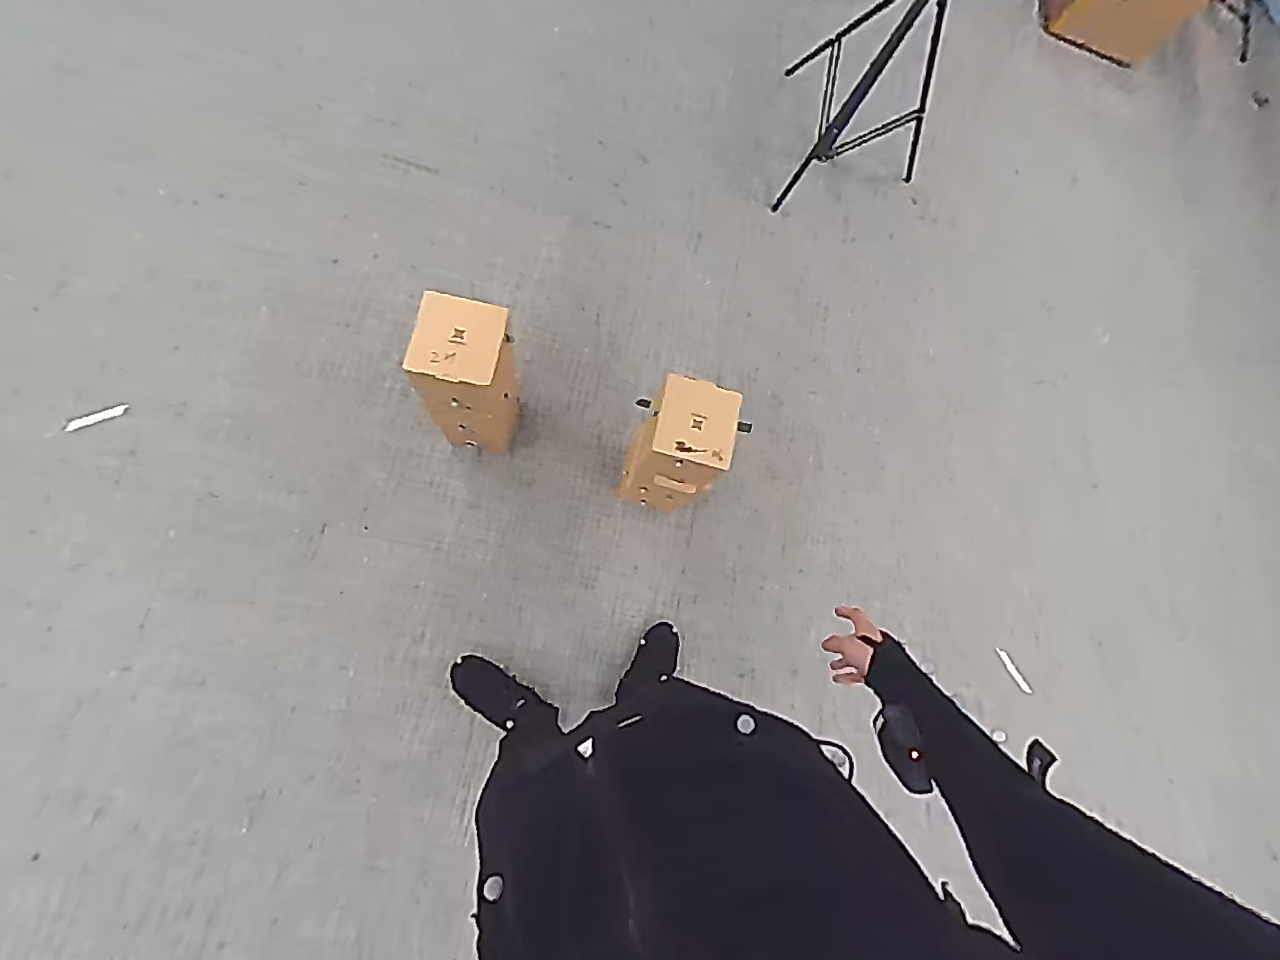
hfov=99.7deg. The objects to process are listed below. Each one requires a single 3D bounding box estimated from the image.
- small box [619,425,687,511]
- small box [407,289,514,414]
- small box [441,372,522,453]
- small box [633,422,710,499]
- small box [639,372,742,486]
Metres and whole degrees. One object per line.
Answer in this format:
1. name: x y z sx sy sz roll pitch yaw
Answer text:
1. small box: 0.048 -0.026 1.495 0.168 0.176 0.179 16 75 -7
2. small box: -0.361 -0.259 1.126 0.168 0.176 0.179 12 76 -7
3. small box: -0.415 -0.189 1.442 0.168 0.176 0.179 12 75 -7
4. small box: 0.086 -0.062 1.340 0.168 0.176 0.179 16 74 -8
5. small box: 0.104 -0.103 1.180 0.168 0.176 0.179 15 74 -7
